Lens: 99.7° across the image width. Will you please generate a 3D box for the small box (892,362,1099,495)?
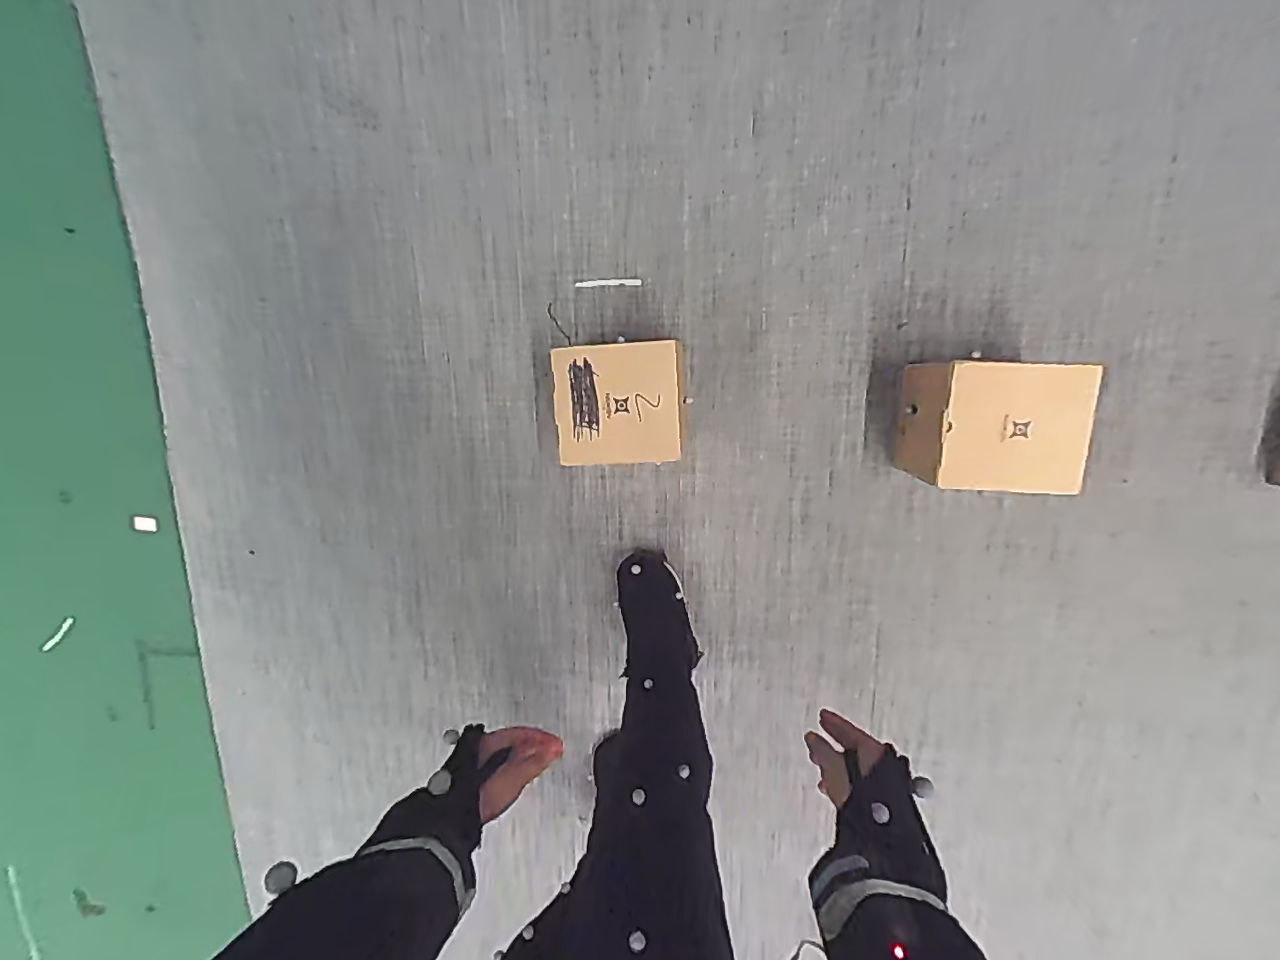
[{"bbox_3d":[0.480,-0.080,0.760,0.179,0.176,0.168,3,102,8],"label":"small box"}]
